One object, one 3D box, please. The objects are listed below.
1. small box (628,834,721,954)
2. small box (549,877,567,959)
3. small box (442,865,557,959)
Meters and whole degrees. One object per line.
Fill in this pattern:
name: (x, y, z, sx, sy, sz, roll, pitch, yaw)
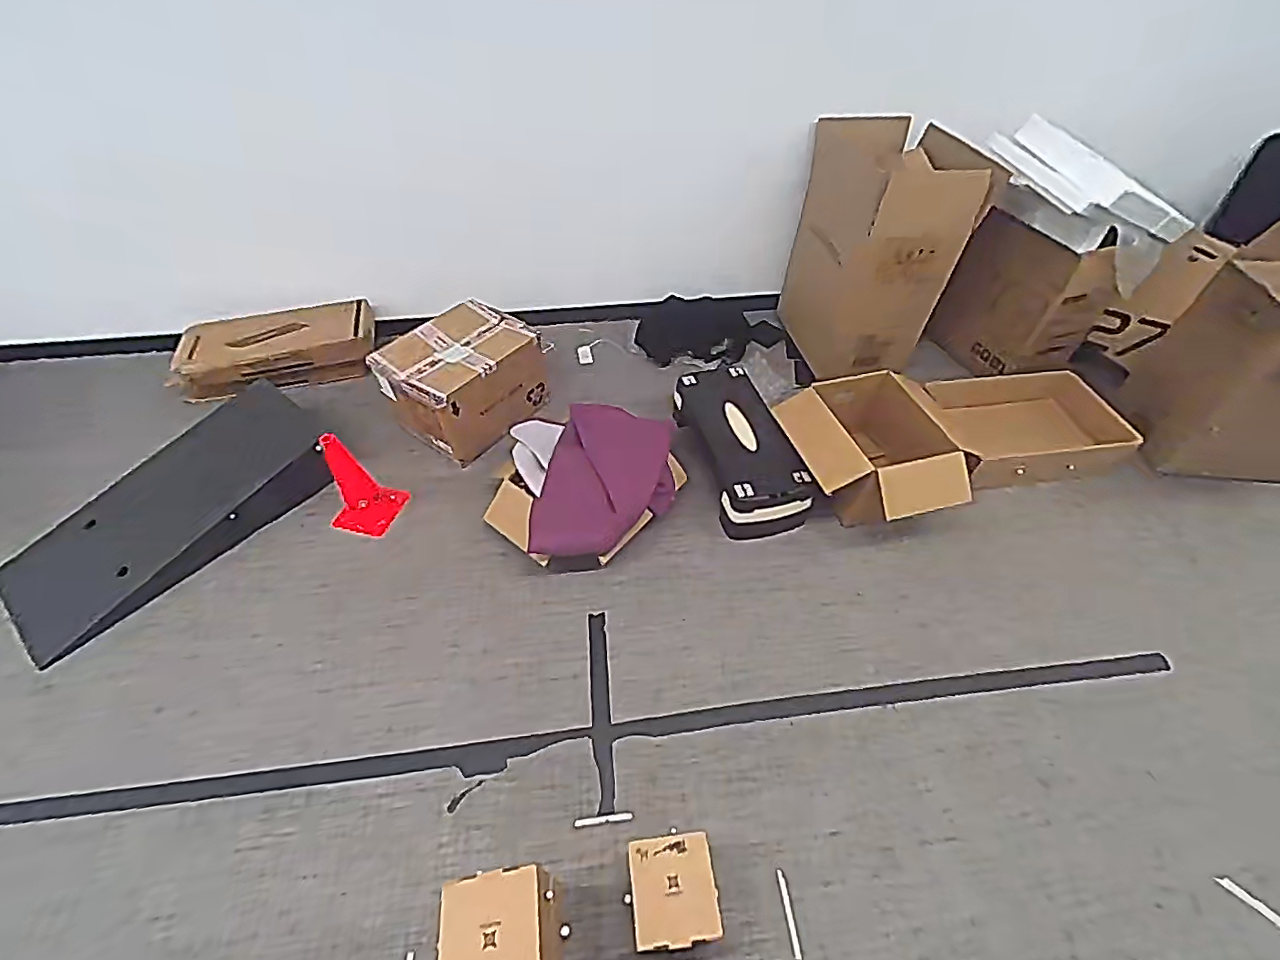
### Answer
small box: (0.067, 0.859, 1.125, 0.168, 0.176, 0.179, -5, 50, -4)
small box: (-0.245, 0.914, 1.077, 0.179, 0.176, 0.168, -6, 49, -5)
small box: (-0.242, 0.809, 0.954, 0.168, 0.176, 0.179, -9, 51, -5)
